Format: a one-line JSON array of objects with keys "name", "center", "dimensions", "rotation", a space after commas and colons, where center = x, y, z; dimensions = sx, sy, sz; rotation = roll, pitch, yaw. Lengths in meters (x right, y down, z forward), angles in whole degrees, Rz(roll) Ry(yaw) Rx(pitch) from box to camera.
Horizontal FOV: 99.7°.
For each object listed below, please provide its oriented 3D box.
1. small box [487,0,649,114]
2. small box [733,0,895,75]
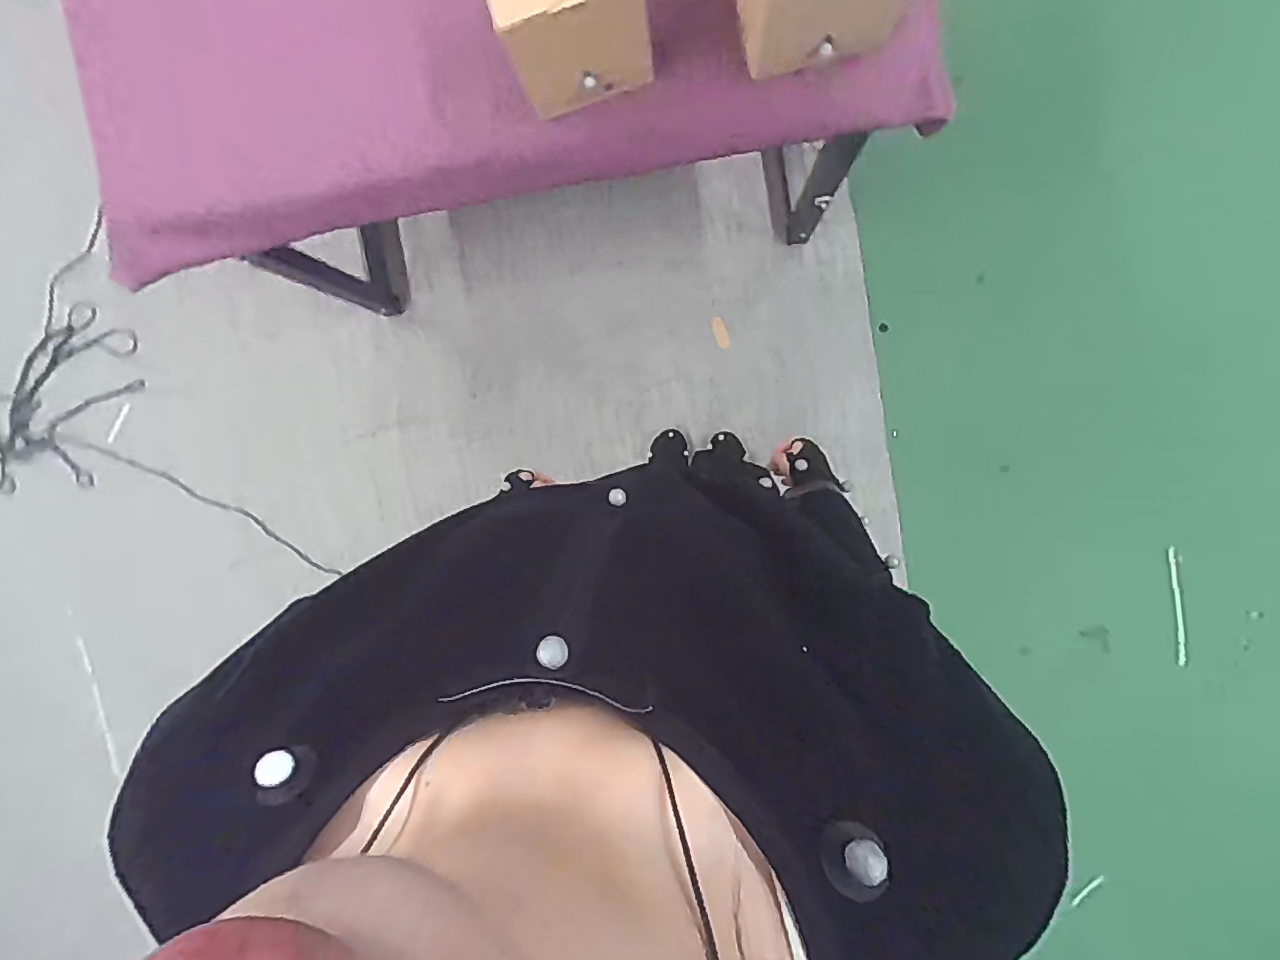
[{"name": "small box", "center": [-0.093, -0.595, 0.649], "dimensions": [0.168, 0.176, 0.179], "rotation": [-16, 92, 7]}, {"name": "small box", "center": [0.202, -0.617, 0.617], "dimensions": [0.179, 0.176, 0.168], "rotation": [-13, 93, 7]}]
